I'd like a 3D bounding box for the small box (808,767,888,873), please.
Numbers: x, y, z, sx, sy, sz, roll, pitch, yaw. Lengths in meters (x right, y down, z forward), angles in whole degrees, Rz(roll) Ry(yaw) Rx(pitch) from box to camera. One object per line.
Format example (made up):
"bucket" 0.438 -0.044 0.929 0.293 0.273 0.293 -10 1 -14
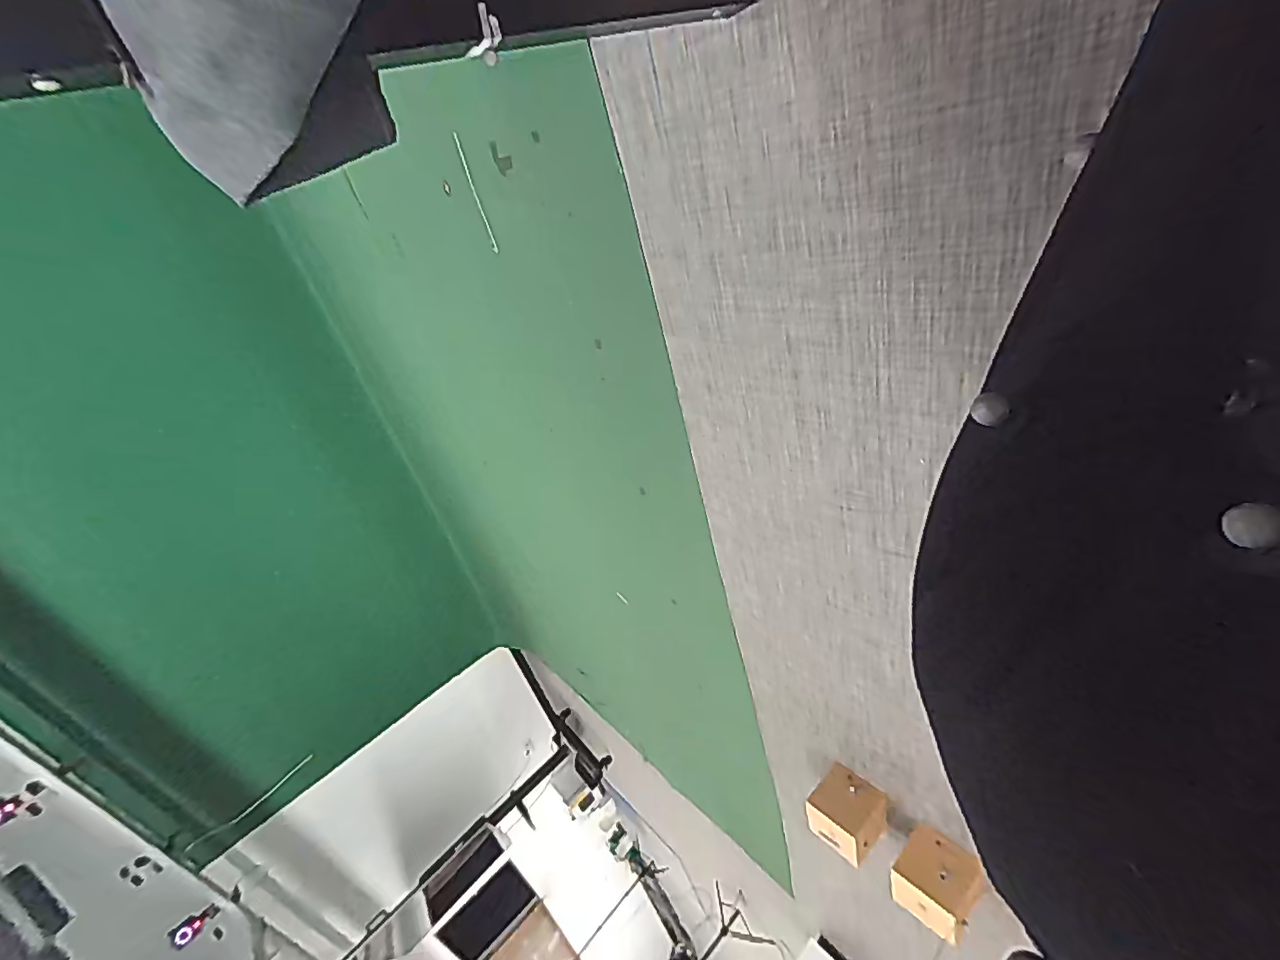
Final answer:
"small box" 0.636 1.024 1.641 0.168 0.176 0.179 20 134 47

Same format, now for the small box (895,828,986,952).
"small box" 0.806 1.091 1.452 0.168 0.176 0.179 19 135 48
